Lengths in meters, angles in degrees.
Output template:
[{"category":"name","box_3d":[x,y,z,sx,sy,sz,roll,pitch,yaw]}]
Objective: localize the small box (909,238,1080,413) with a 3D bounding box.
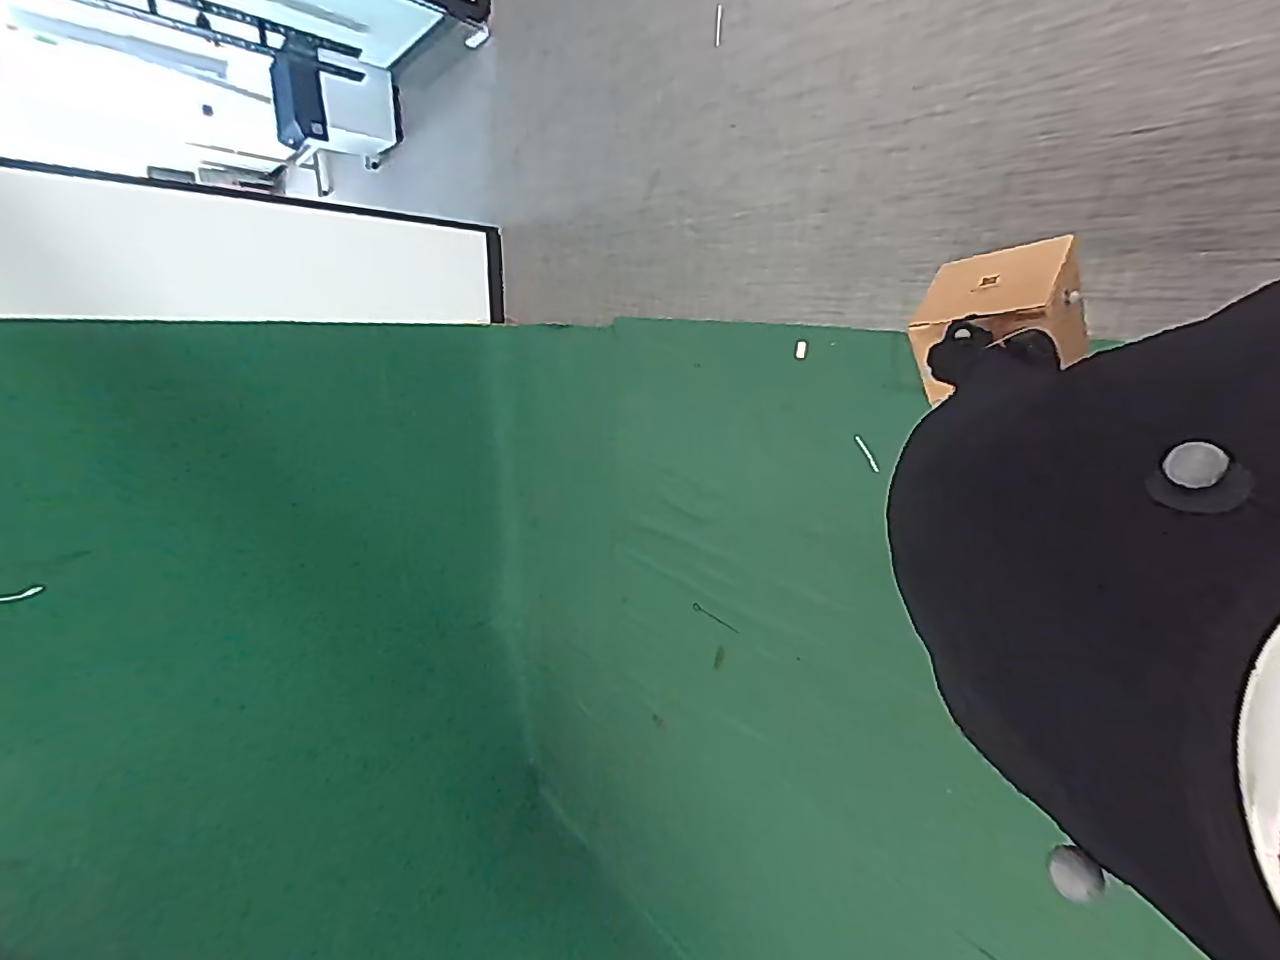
[{"category":"small box","box_3d":[0.525,-0.217,0.794,0.168,0.179,0.176,4,139,48]}]
